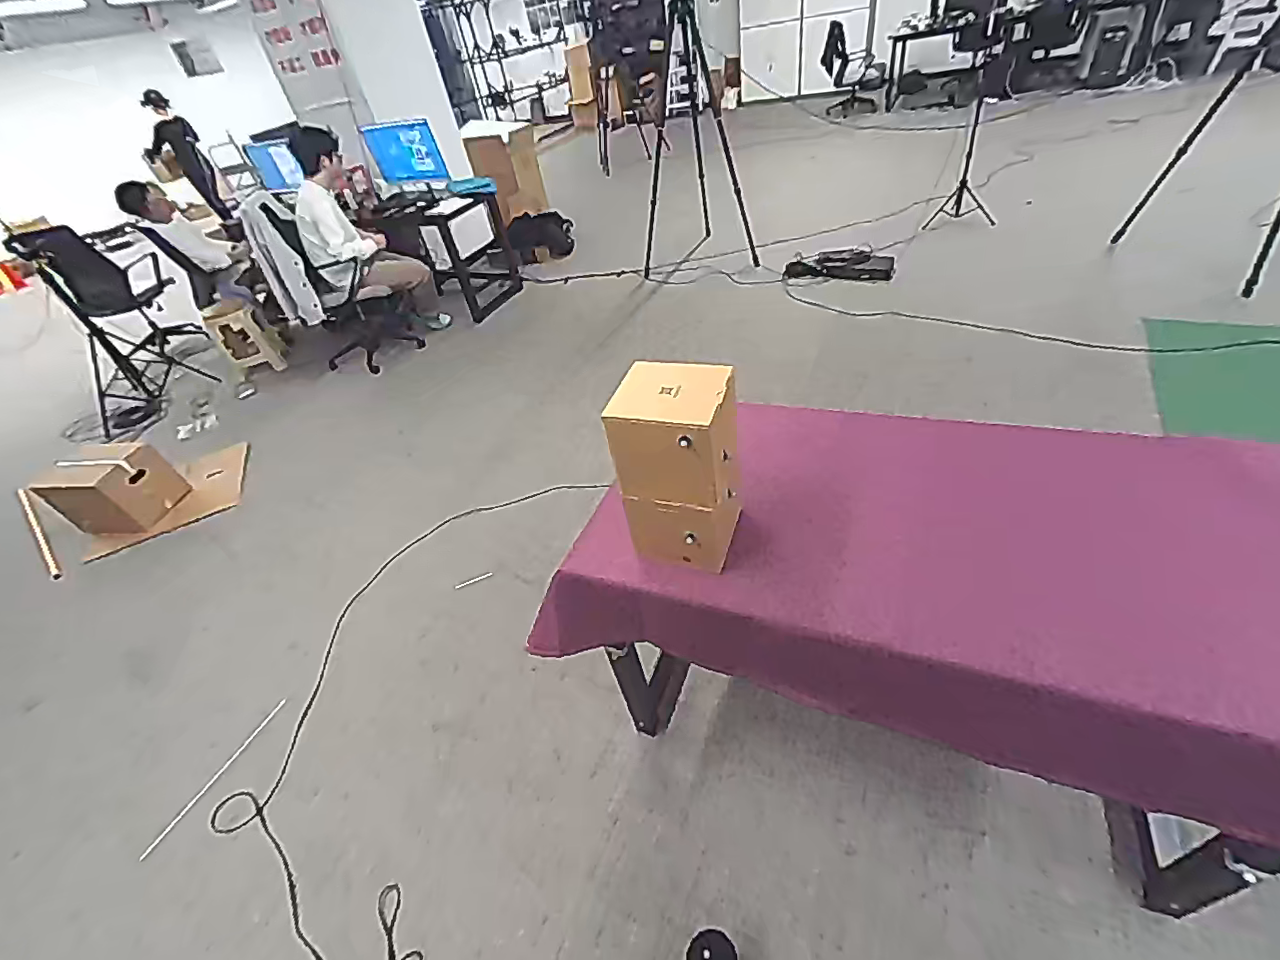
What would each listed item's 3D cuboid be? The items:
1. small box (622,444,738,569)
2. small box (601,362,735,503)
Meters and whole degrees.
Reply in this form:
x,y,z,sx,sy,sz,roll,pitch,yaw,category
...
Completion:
x,y,z,sx,sy,sz,roll,pitch,yaw,category
0.084,0.041,1.008,0.168,0.176,0.179,9,44,21,small box
0.056,-0.080,0.904,0.179,0.176,0.168,8,45,19,small box
